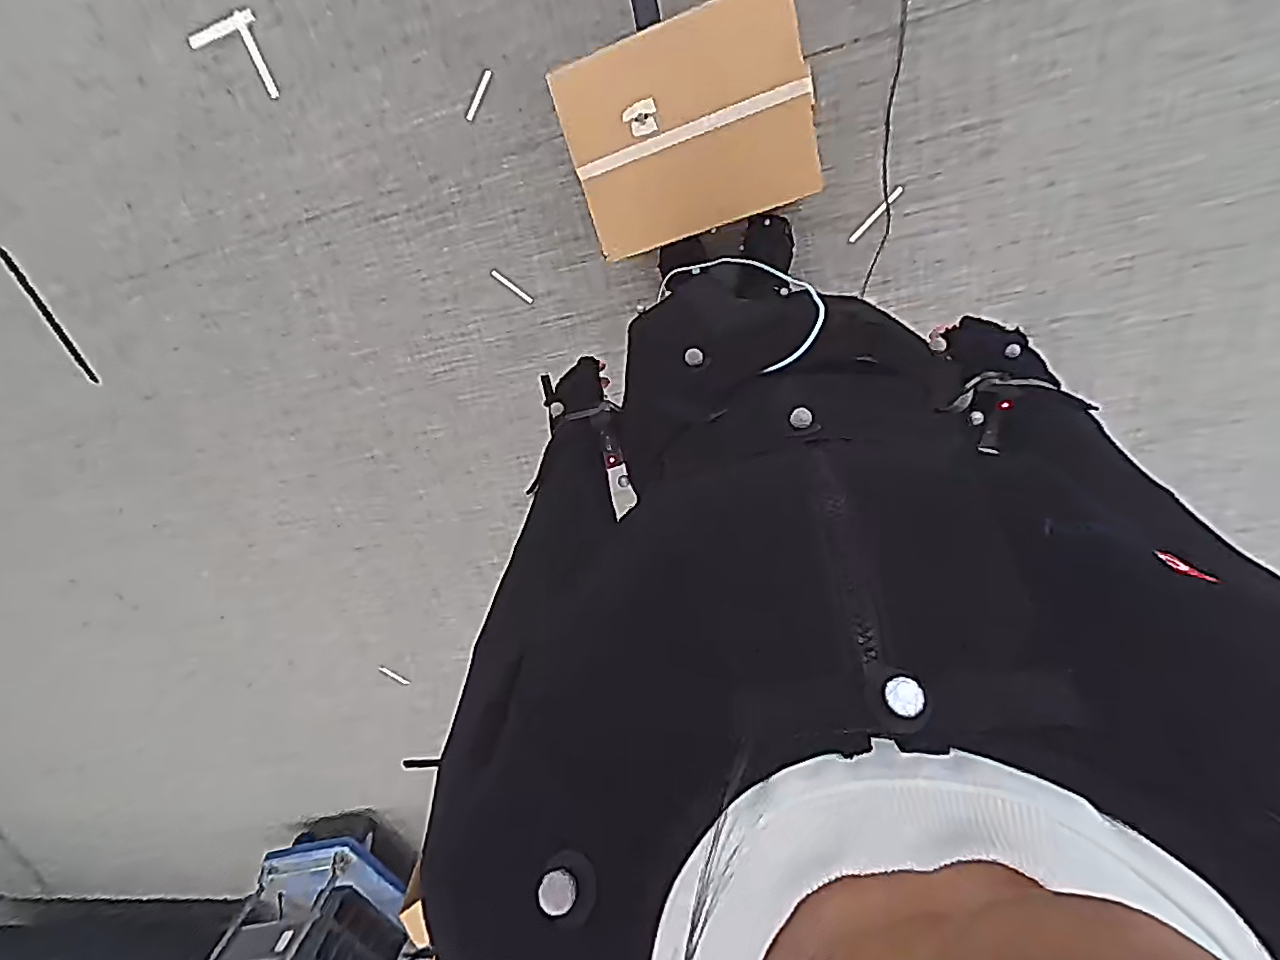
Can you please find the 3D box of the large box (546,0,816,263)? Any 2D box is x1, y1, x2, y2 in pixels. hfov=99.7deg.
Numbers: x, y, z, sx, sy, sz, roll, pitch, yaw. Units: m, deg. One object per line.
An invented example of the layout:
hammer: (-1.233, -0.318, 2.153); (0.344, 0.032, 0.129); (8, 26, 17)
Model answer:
large box: (0.094, -0.656, 1.046); (0.408, 0.320, 0.320); (-12, 114, 15)
